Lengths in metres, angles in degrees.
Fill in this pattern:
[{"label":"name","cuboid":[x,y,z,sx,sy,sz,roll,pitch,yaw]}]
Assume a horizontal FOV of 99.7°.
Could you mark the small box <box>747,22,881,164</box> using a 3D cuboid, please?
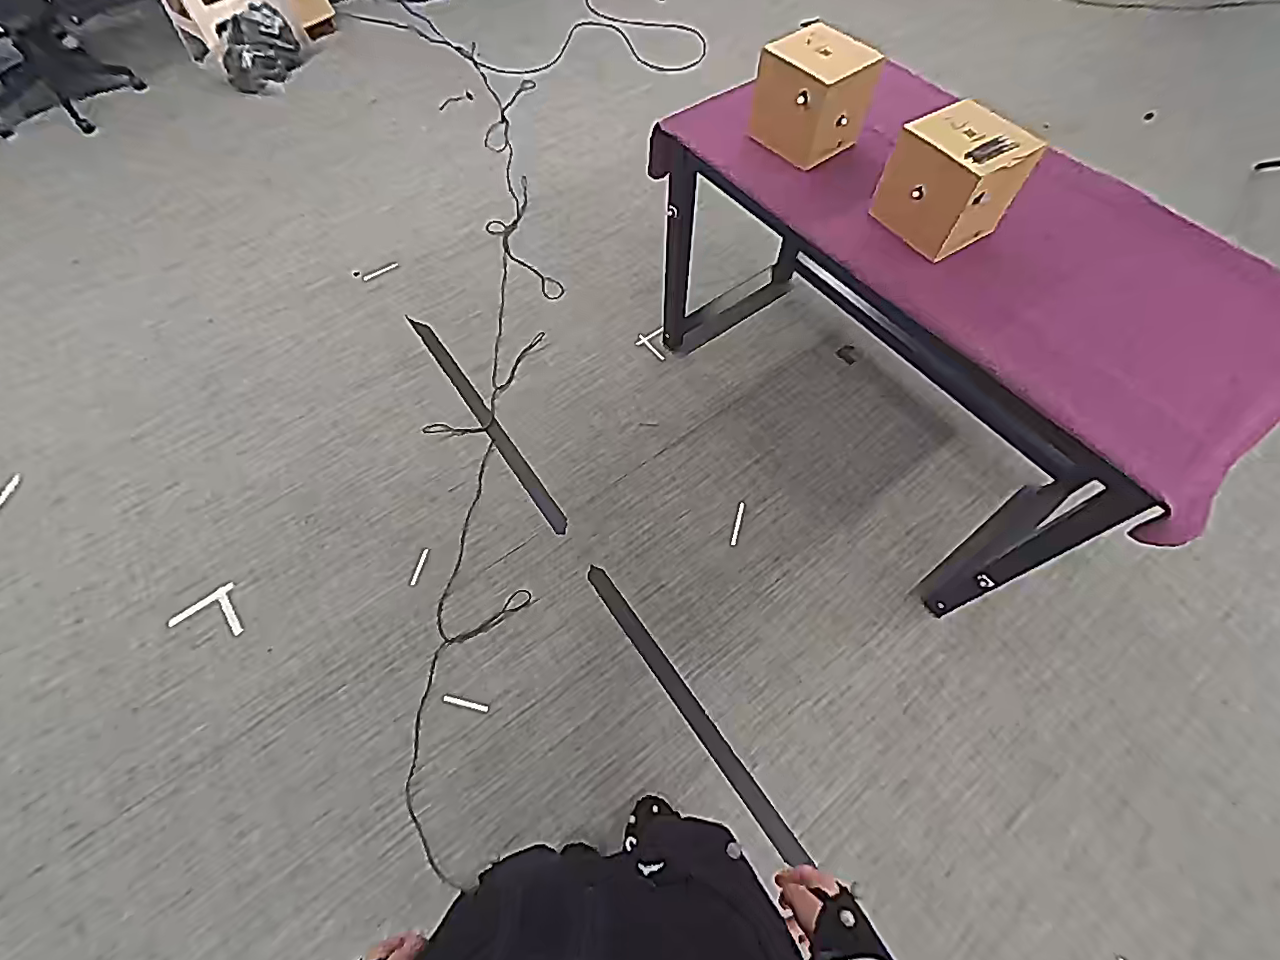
[{"label":"small box","cuboid":[0.347,-0.786,1.111,0.168,0.176,0.179,-36,68,-18]}]
